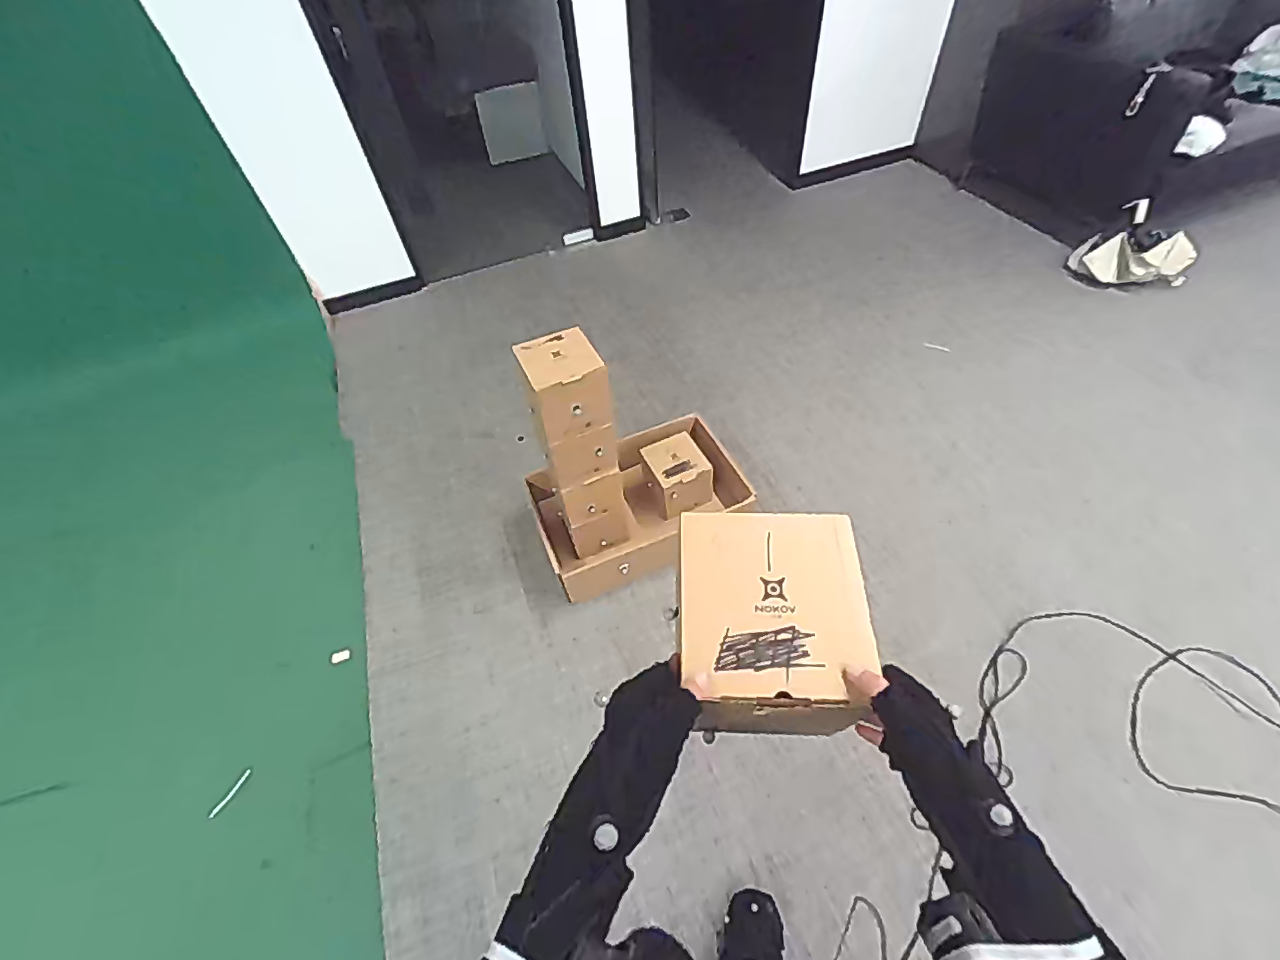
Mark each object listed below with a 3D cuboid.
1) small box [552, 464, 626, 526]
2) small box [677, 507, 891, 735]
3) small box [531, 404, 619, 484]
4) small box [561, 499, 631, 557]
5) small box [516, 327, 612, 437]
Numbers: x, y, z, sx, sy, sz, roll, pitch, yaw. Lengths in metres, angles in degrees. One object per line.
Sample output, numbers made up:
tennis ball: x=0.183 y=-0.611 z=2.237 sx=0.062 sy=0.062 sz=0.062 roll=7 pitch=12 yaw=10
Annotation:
small box: x=-0.147 y=-0.005 z=1.501 sx=0.168 sy=0.176 sz=0.179 roll=-20 pitch=52 yaw=-12
small box: x=0.126 y=0.147 z=0.540 sx=0.168 sy=0.176 sz=0.179 roll=4 pitch=58 yaw=3
small box: x=-0.161 y=-0.112 z=1.378 sx=0.168 sy=0.176 sz=0.179 roll=-21 pitch=52 yaw=-14
small box: x=-0.136 y=0.101 z=1.624 sx=0.168 sy=0.176 sz=0.179 roll=-19 pitch=51 yaw=-11
small box: x=-0.171 y=-0.220 z=1.255 sx=0.168 sy=0.176 sz=0.179 roll=-20 pitch=53 yaw=-14
